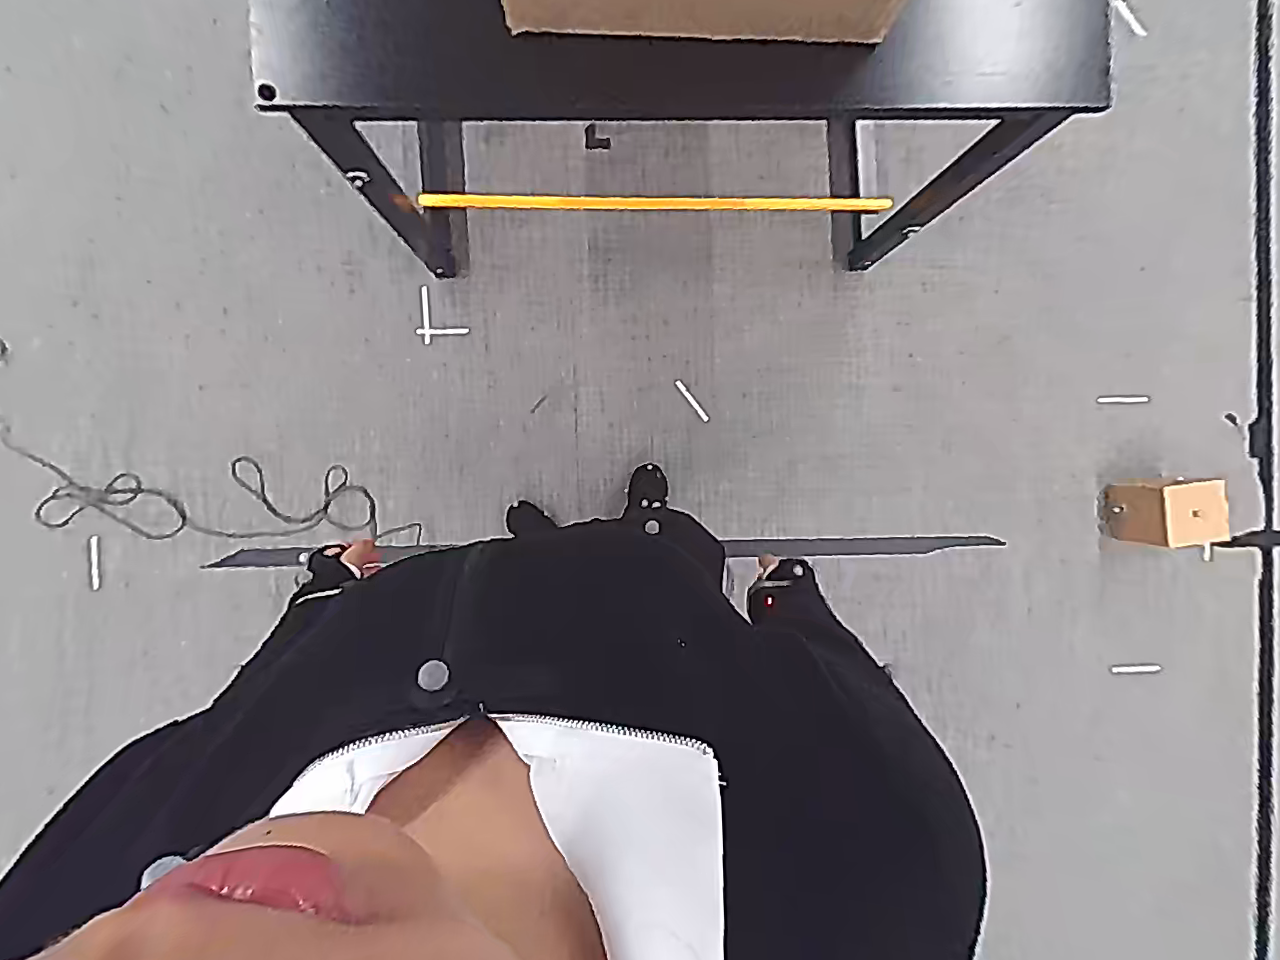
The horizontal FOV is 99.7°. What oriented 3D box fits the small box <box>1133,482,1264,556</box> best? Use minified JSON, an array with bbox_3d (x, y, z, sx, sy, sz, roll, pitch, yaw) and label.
[{"bbox_3d":[1.482,0.098,1.443,0.179,0.176,0.168,-8,92,-2],"label":"small box"}]
